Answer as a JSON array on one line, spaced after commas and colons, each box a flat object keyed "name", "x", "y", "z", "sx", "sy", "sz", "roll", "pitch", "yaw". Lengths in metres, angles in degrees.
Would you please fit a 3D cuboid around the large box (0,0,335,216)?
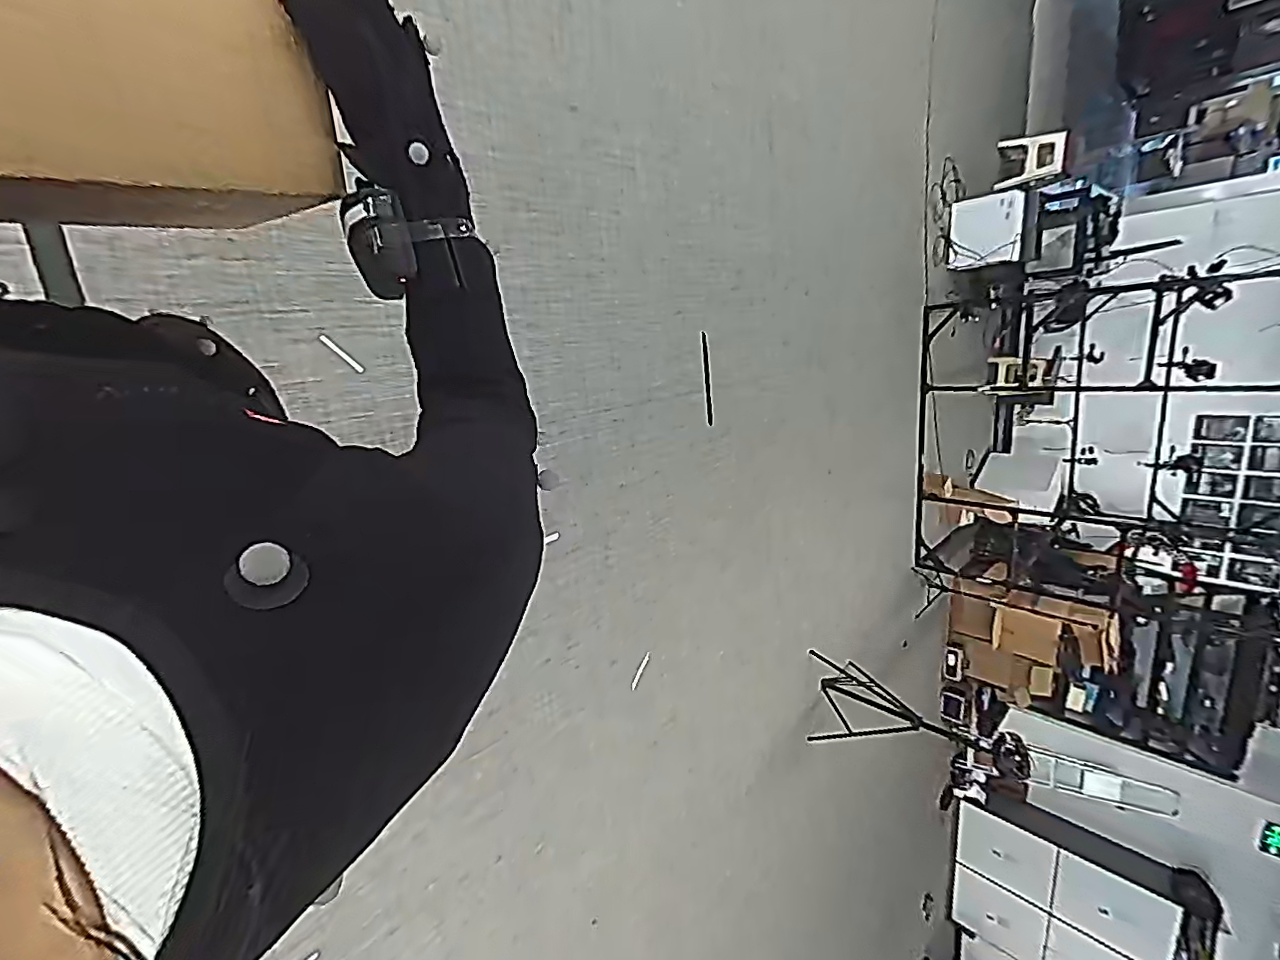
[{"name": "large box", "x": -0.467, "y": -0.330, "z": 0.297, "sx": 0.408, "sy": 0.320, "sz": 0.320, "roll": -23, "pitch": 121, "yaw": -42}]
